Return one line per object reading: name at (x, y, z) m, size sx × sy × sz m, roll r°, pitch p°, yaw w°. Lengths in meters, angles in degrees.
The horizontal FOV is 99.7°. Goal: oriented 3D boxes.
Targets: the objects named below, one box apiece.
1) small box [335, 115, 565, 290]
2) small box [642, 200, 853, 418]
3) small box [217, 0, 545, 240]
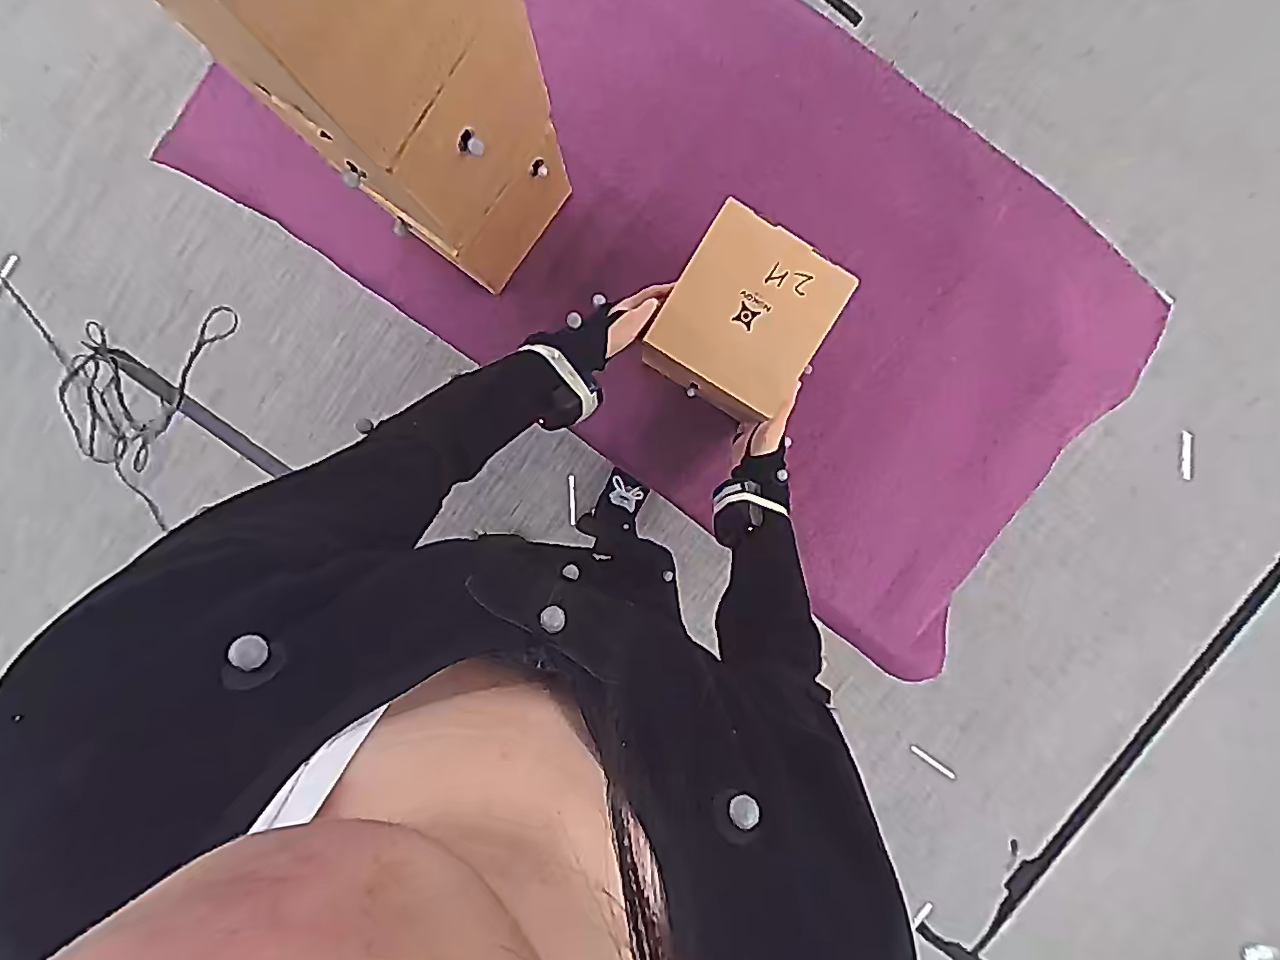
small box at (-0.206, -0.359, 0.645) m, size 0.168 × 0.176 × 0.179 m, roll 37°, pitch 93°, yaw -3°
small box at (0.116, -0.187, 0.659) m, size 0.168 × 0.176 × 0.179 m, roll 32°, pitch 94°, yaw -3°
small box at (-0.203, -0.352, 0.481) m, size 0.168 × 0.176 × 0.179 m, roll 35°, pitch 94°, yaw -3°
